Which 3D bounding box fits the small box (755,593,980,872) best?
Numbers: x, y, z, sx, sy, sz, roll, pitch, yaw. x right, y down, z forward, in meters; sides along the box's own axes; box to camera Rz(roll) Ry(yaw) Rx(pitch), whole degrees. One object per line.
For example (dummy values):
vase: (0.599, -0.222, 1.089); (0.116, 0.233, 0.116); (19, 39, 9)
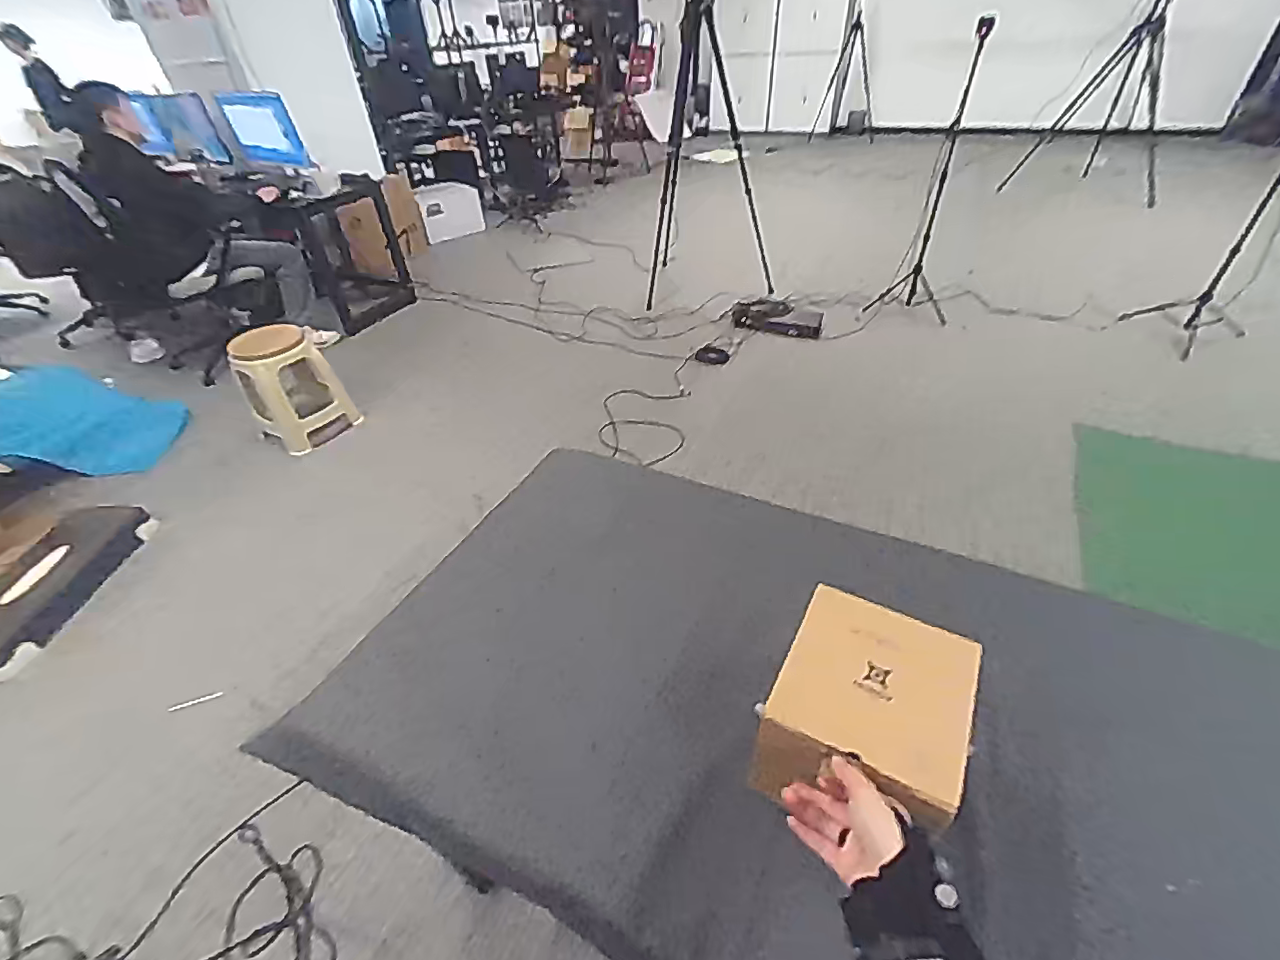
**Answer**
small box: (0.228, 0.259, 0.565); (0.168, 0.176, 0.179); (20, 44, 24)
